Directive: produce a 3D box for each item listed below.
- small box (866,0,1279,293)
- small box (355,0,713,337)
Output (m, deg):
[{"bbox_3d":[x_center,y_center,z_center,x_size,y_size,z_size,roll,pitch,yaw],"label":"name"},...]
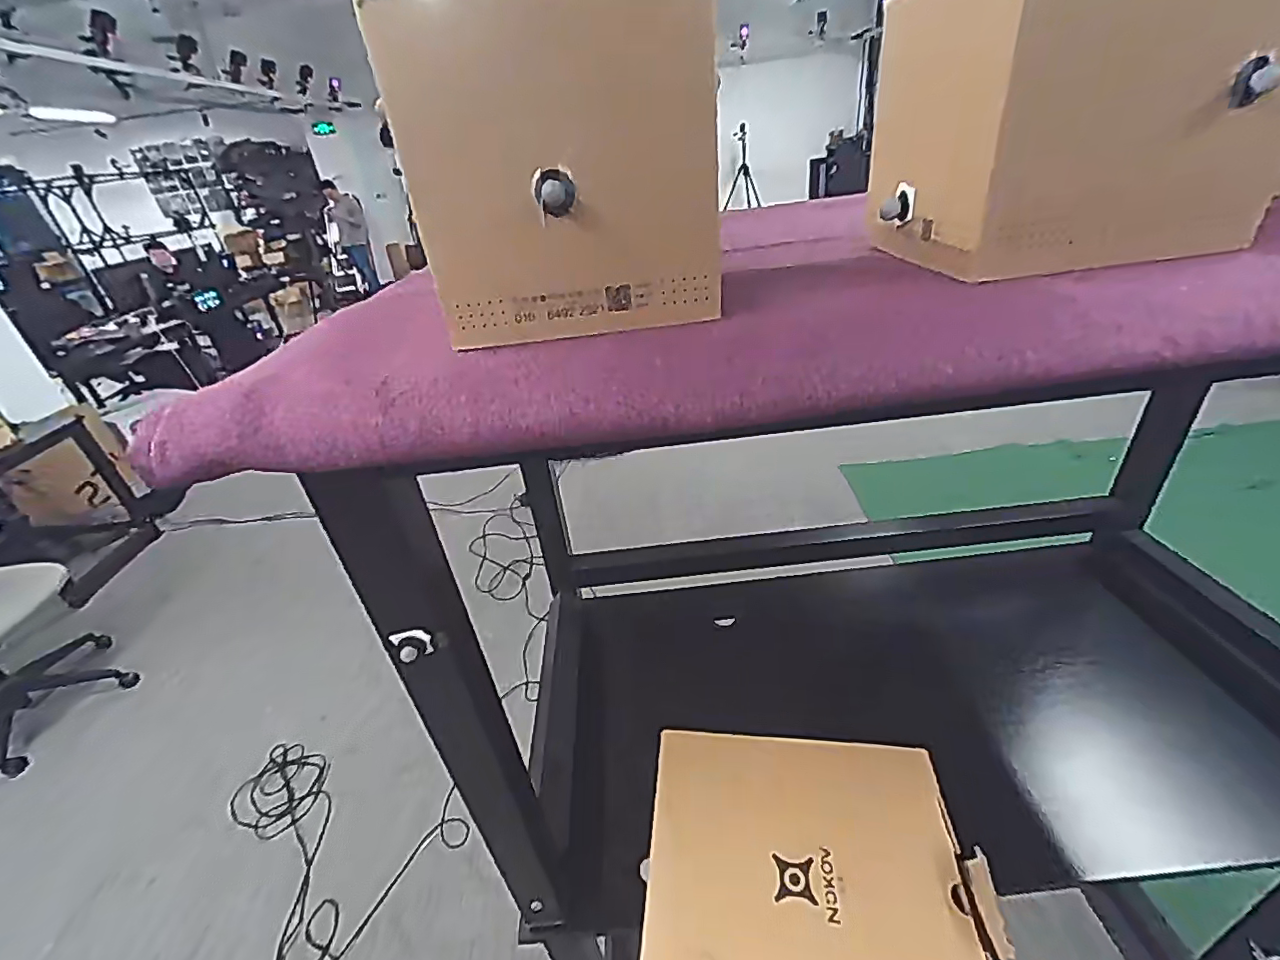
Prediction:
[{"bbox_3d":[0.273,-0.236,0.360,0.179,0.176,0.168,-8,31,1],"label":"small box"},{"bbox_3d":[-0.046,-0.198,0.356,0.168,0.176,0.179,-6,32,0],"label":"small box"}]
